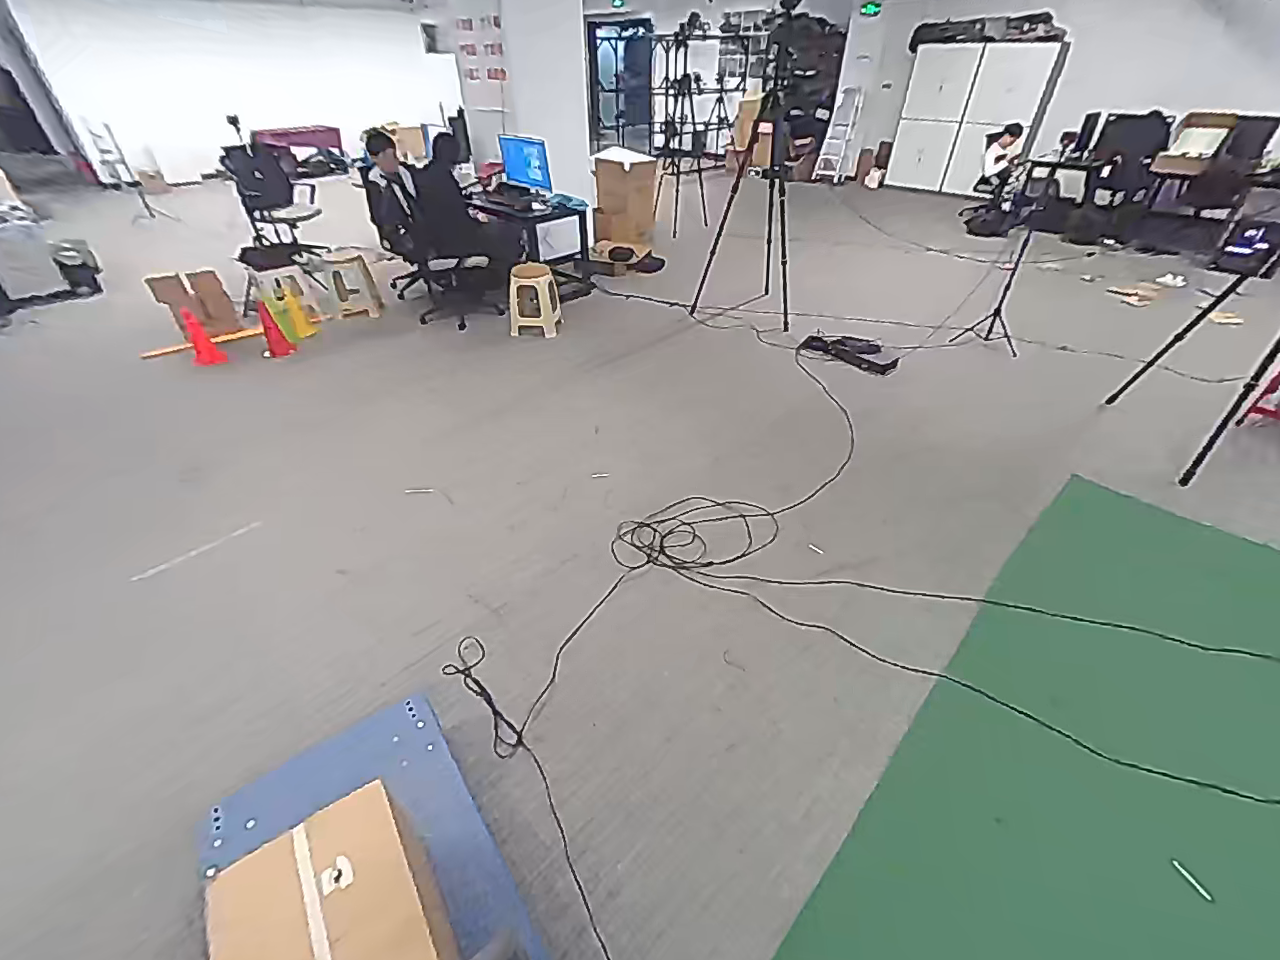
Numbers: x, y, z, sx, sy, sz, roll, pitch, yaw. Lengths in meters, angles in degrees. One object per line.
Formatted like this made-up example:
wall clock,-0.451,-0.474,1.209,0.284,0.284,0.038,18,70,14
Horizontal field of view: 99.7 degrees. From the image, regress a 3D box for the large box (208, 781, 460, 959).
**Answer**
large box,-0.552,0.895,1.023,0.320,0.320,0.408,-23,42,-28
